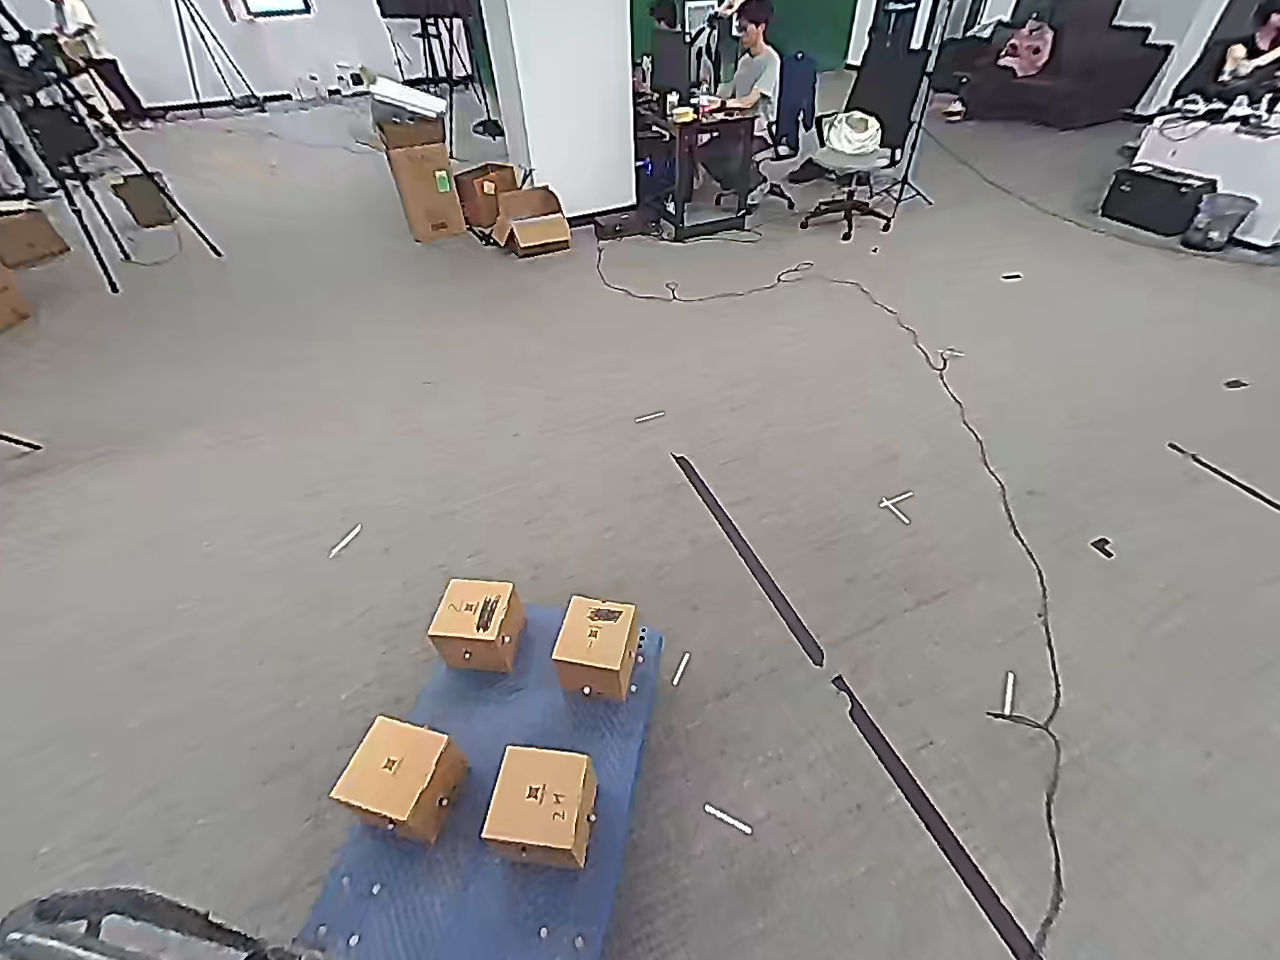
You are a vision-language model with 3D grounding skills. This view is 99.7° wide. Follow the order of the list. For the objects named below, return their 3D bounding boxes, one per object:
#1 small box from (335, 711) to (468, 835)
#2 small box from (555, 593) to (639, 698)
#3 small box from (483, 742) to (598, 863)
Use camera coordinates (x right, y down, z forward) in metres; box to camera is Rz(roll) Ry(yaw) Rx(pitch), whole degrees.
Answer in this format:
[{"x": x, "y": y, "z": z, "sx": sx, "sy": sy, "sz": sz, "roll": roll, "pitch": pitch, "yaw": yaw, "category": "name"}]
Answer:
[{"x": -0.495, "y": 0.626, "z": 1.152, "sx": 0.179, "sy": 0.176, "sz": 0.168, "roll": 11, "pitch": 45, "yaw": 11, "category": "small box"}, {"x": -0.098, "y": 0.413, "z": 1.351, "sx": 0.168, "sy": 0.176, "sz": 0.179, "roll": 7, "pitch": 46, "yaw": 11, "category": "small box"}, {"x": -0.191, "y": 0.658, "z": 1.102, "sx": 0.179, "sy": 0.176, "sz": 0.168, "roll": 4, "pitch": 45, "yaw": 7, "category": "small box"}]
